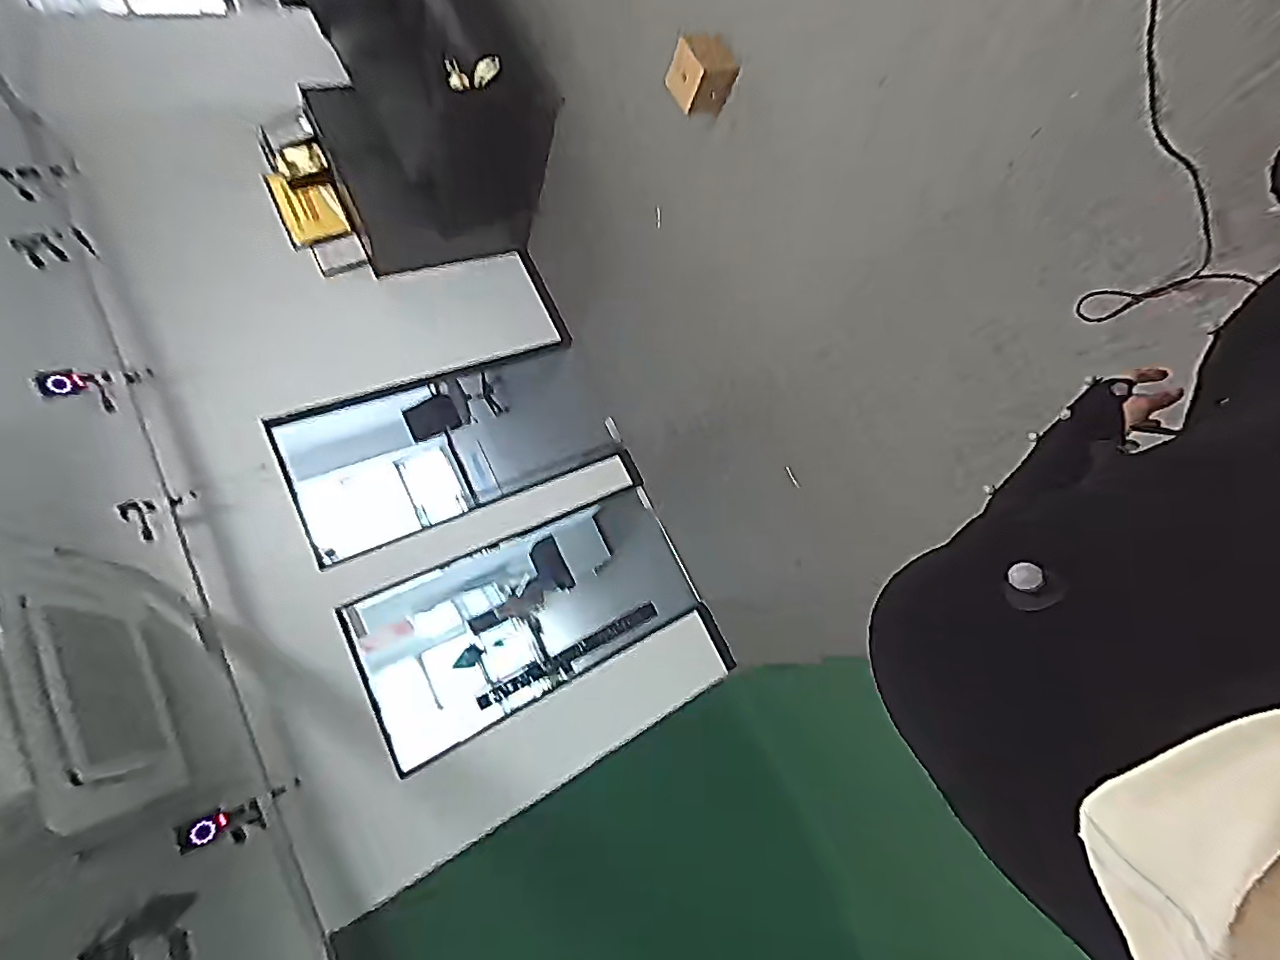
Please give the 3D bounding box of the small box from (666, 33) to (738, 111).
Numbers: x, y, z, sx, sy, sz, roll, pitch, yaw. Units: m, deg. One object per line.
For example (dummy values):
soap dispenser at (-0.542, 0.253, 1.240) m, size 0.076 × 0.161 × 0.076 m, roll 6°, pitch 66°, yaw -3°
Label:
small box at (0.230, -1.504, 1.988) m, size 0.179 × 0.176 × 0.168 m, roll 62°, pitch 154°, yaw 11°
